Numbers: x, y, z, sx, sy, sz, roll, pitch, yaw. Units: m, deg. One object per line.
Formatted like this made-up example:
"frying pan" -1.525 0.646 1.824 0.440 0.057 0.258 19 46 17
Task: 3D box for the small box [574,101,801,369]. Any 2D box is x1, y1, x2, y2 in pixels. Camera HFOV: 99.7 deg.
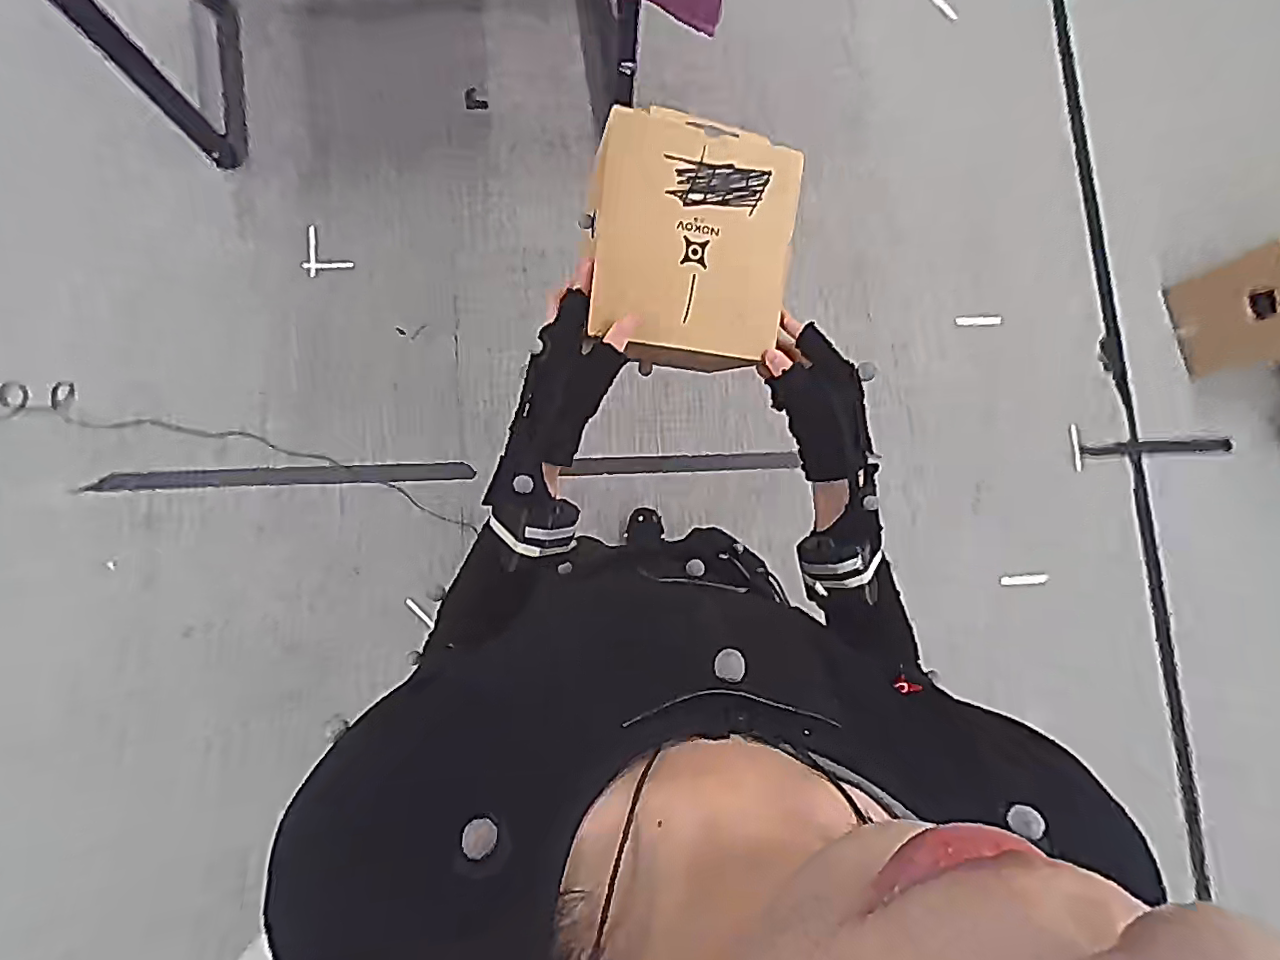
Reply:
"small box" 0.030 -0.209 0.518 0.168 0.176 0.179 4 96 -13
